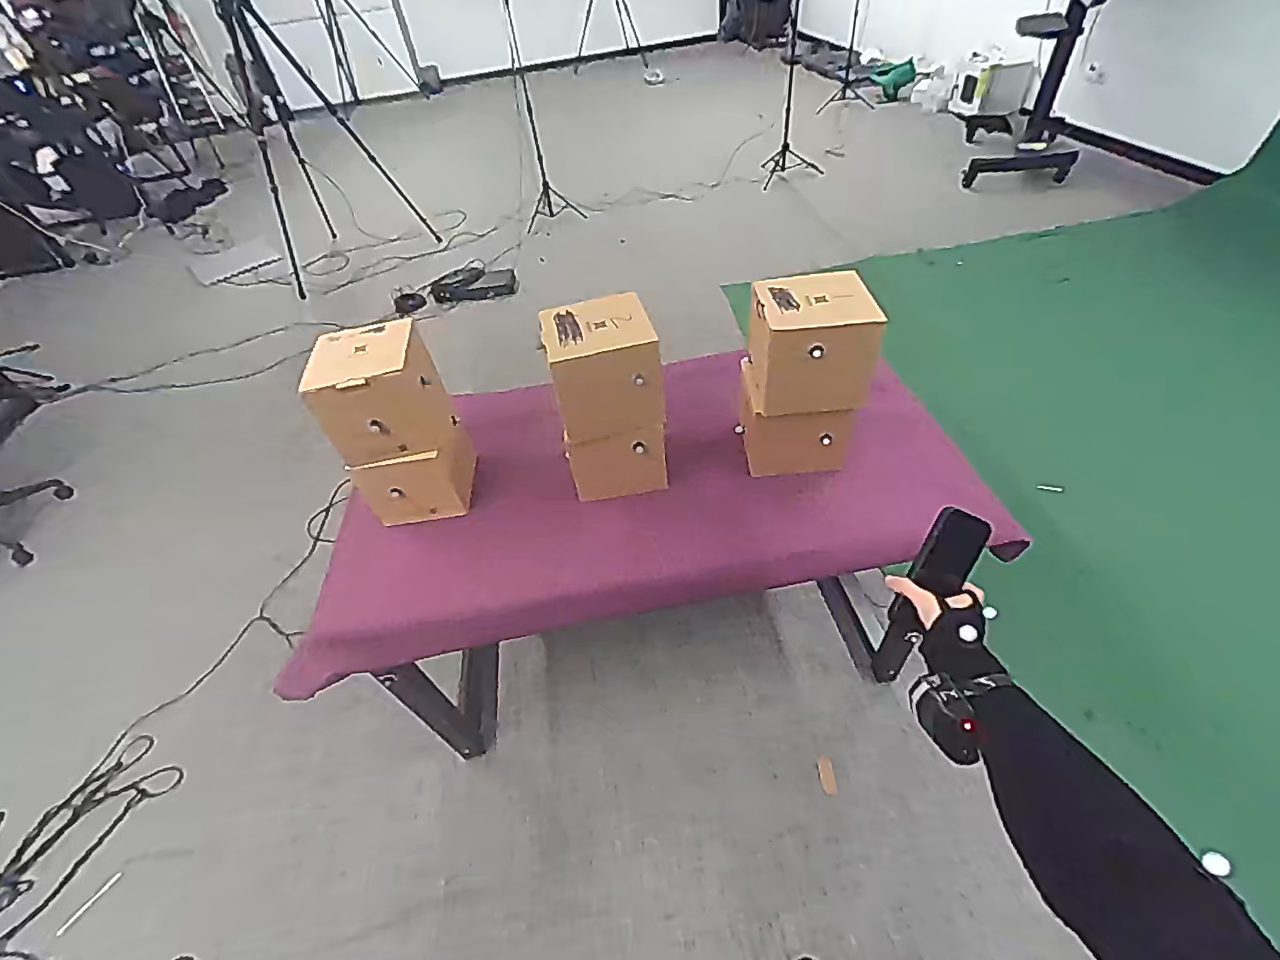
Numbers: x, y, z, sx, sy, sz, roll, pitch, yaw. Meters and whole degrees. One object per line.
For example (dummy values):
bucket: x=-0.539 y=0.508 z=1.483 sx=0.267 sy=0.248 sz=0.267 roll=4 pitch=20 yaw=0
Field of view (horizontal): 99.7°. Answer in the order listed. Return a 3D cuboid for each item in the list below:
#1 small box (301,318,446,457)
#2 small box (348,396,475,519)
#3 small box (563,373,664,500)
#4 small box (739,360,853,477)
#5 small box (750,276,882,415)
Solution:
small box: x=-0.455 y=-0.156 z=0.955 sx=0.168 sy=0.176 sz=0.179 roll=-11 pitch=47 yaw=-4
small box: x=-0.437 y=-0.038 z=1.068 sx=0.168 sy=0.176 sz=0.179 roll=-8 pitch=46 yaw=0
small box: x=-0.049 y=-0.082 z=1.054 sx=0.179 sy=0.176 sz=0.168 roll=-9 pitch=46 yaw=0
small box: x=0.290 y=-0.122 z=1.047 sx=0.179 sy=0.176 sz=0.168 roll=-4 pitch=46 yaw=5
small box: x=0.283 y=-0.224 z=0.918 sx=0.179 sy=0.176 sz=0.168 roll=-4 pitch=46 yaw=3
